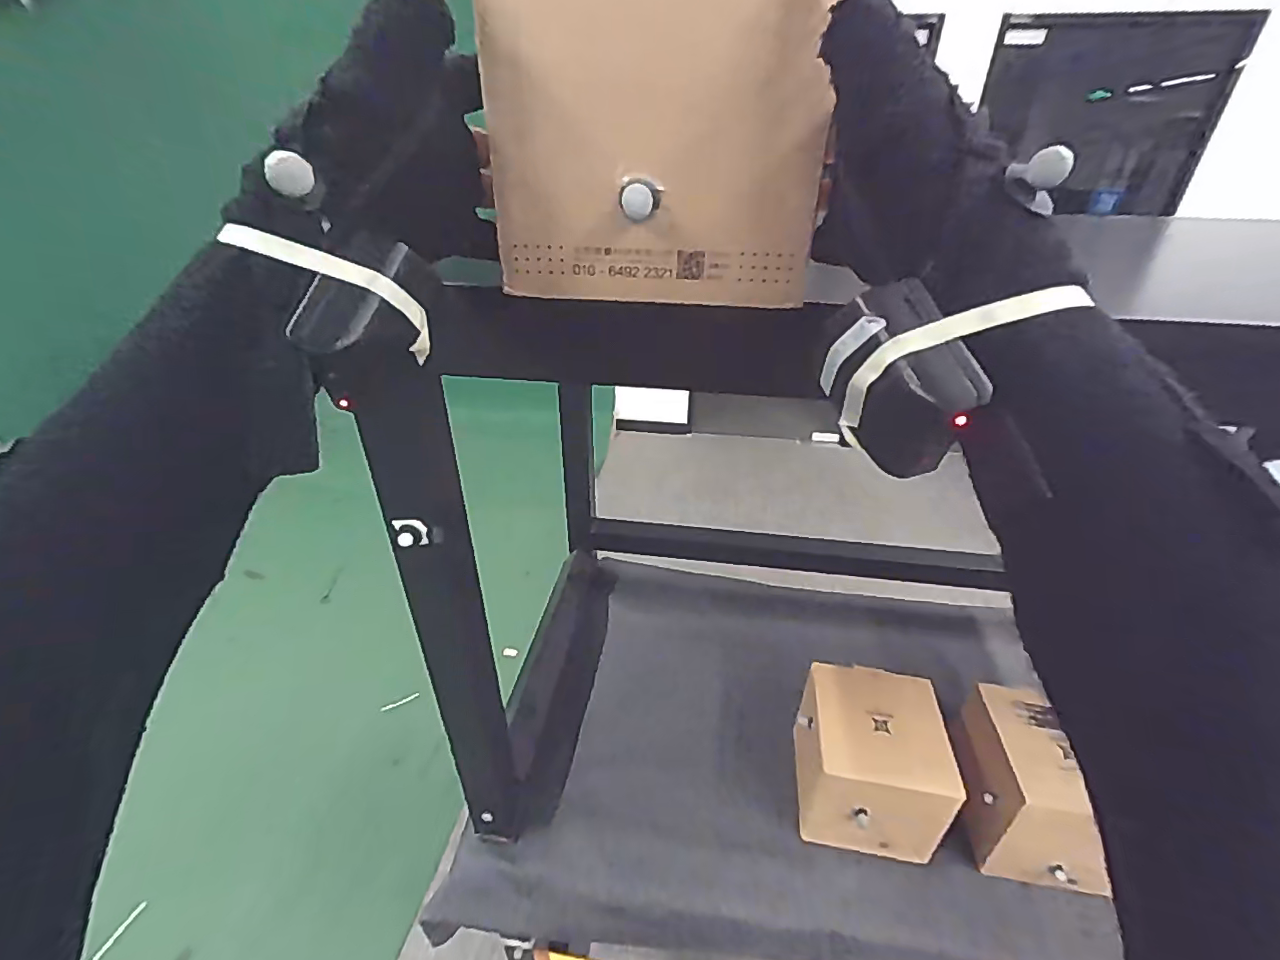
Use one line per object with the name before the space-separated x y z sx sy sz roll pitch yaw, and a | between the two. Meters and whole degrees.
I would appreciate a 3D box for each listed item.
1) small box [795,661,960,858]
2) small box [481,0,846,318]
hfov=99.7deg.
small box | 0.315 0.389 0.759 0.168 0.176 0.179 6 31 9
small box | 0.013 -0.208 0.328 0.168 0.176 0.179 4 32 5
